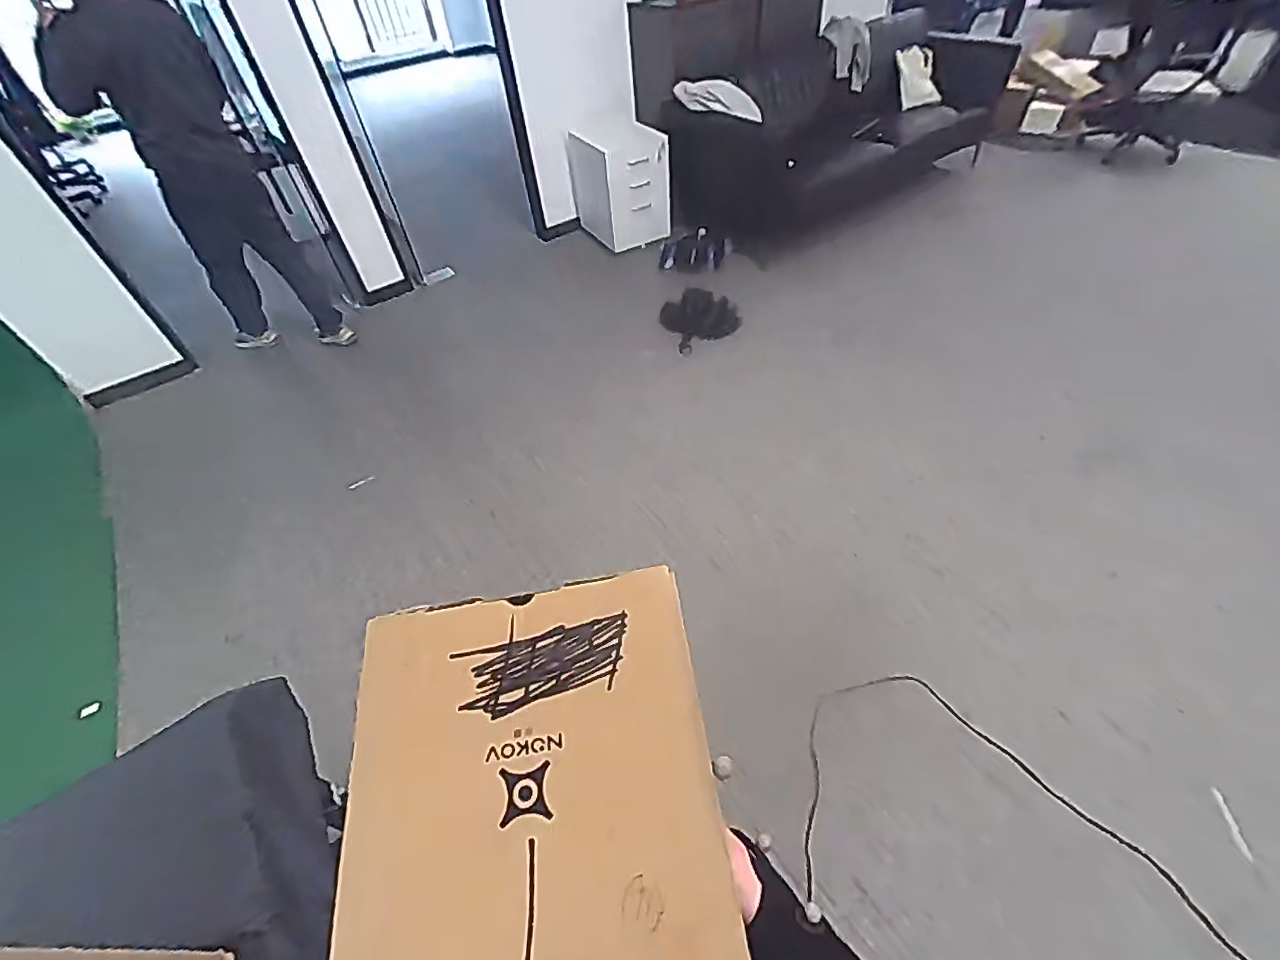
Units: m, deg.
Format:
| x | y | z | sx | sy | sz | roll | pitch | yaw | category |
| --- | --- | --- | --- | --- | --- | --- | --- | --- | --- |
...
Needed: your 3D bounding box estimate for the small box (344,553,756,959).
| x | y | z | sx | sy | sz | roll | pitch | yaw | category |
| --- | --- | --- | --- | --- | --- | --- | --- | --- | --- |
| -0.041 | 0.167 | 0.320 | 0.168 | 0.176 | 0.179 | -10 | 57 | -1 | small box |
